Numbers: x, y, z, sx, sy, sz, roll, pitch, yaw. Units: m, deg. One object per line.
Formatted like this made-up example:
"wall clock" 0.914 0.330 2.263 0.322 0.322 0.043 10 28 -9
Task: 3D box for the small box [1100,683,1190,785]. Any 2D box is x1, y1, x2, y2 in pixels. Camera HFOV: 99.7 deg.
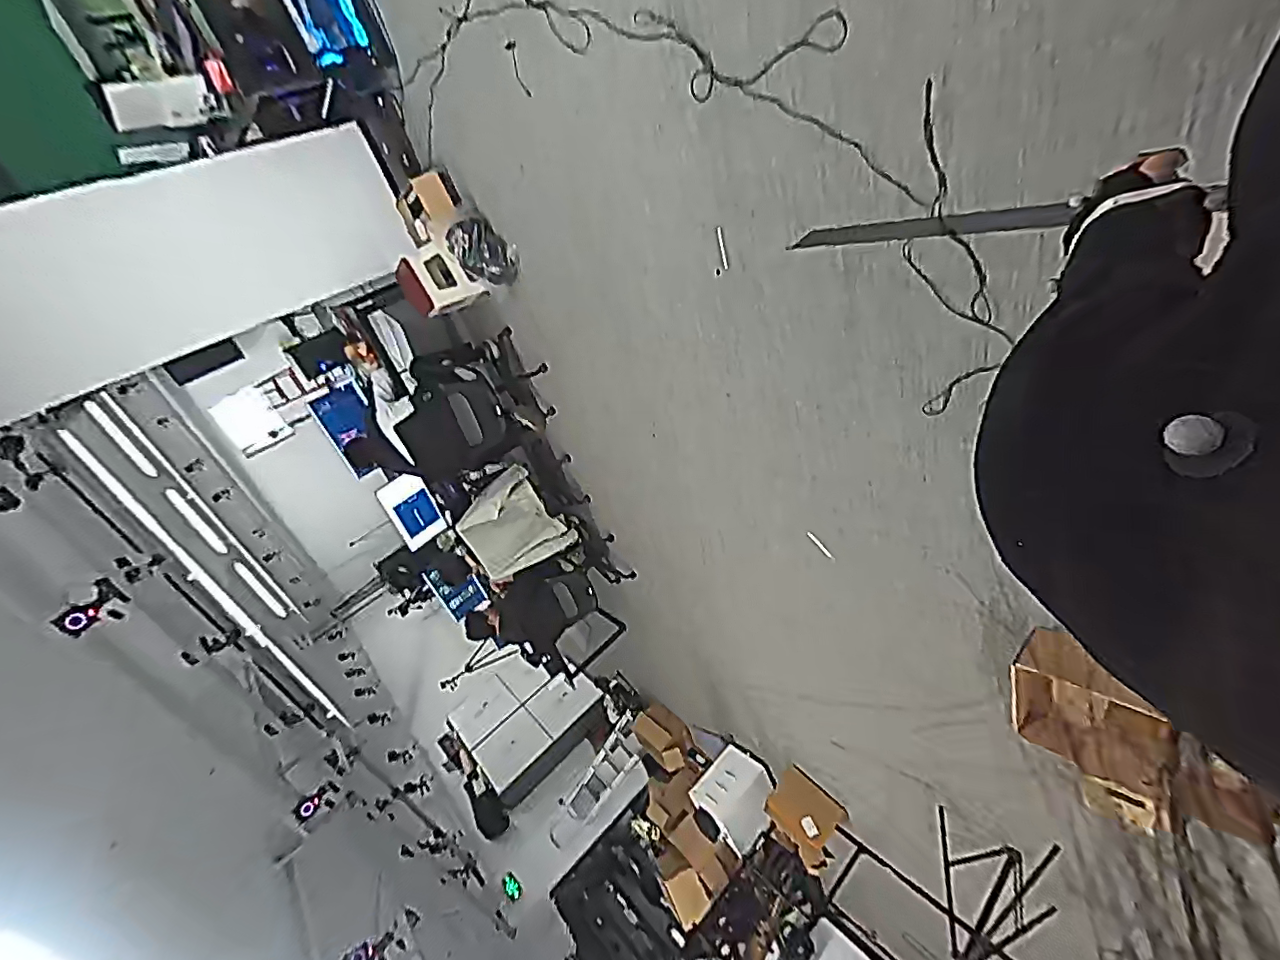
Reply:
"small box" 1.494 0.745 1.597 0.168 0.176 0.179 9 130 53
